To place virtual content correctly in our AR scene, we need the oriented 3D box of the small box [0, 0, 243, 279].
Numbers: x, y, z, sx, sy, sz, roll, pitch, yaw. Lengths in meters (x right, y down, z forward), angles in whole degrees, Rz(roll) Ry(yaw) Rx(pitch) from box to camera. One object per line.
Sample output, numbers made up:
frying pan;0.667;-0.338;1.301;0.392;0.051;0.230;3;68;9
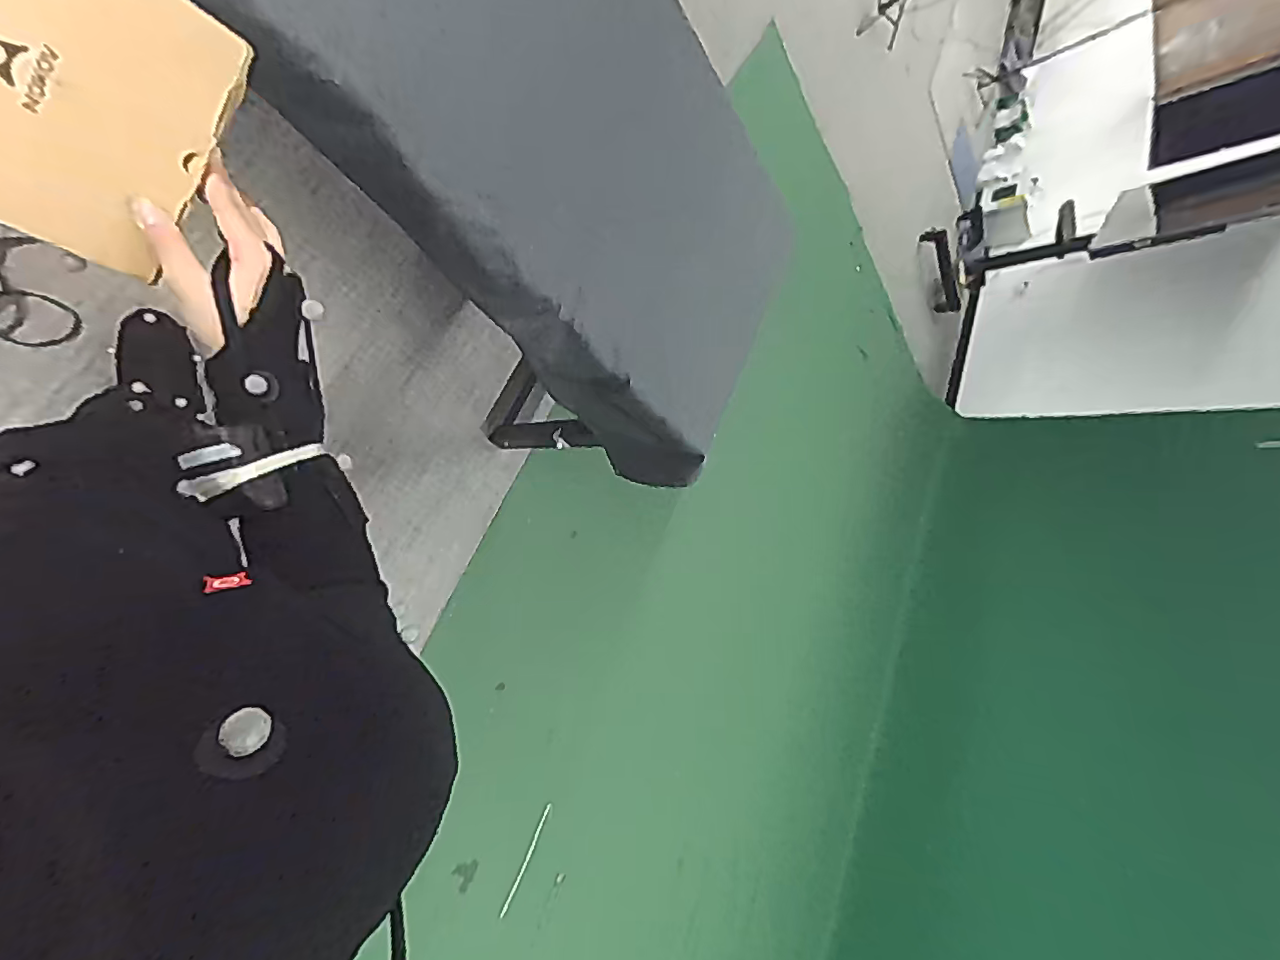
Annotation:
small box;-0.385;-0.250;0.335;0.179;0.176;0.168;24;97;-44
